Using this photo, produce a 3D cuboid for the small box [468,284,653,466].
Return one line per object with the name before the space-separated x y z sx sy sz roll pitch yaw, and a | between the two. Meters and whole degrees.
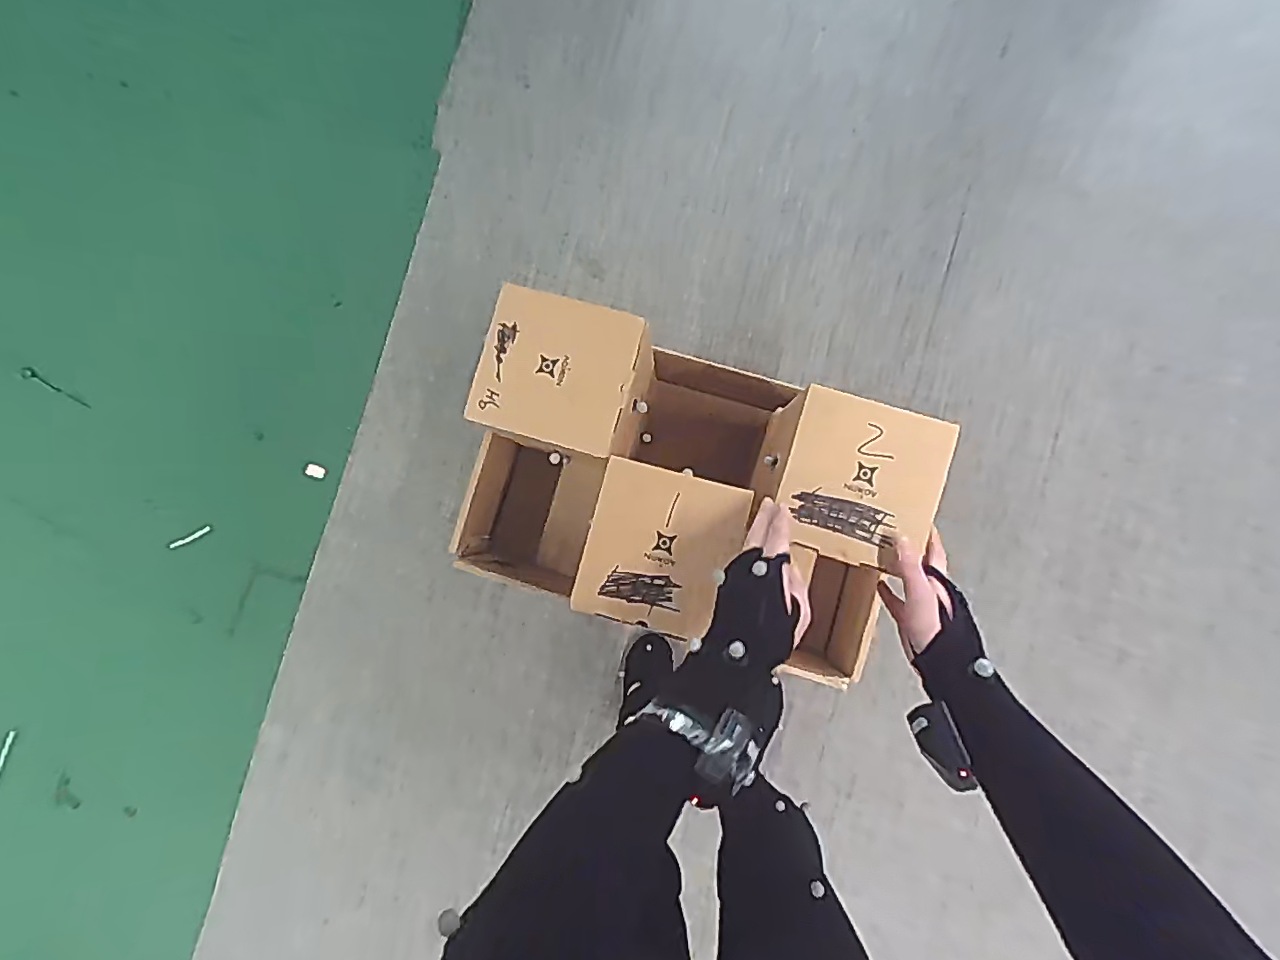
small box | -0.086 -0.119 0.690 0.179 0.176 0.168 17 88 4
